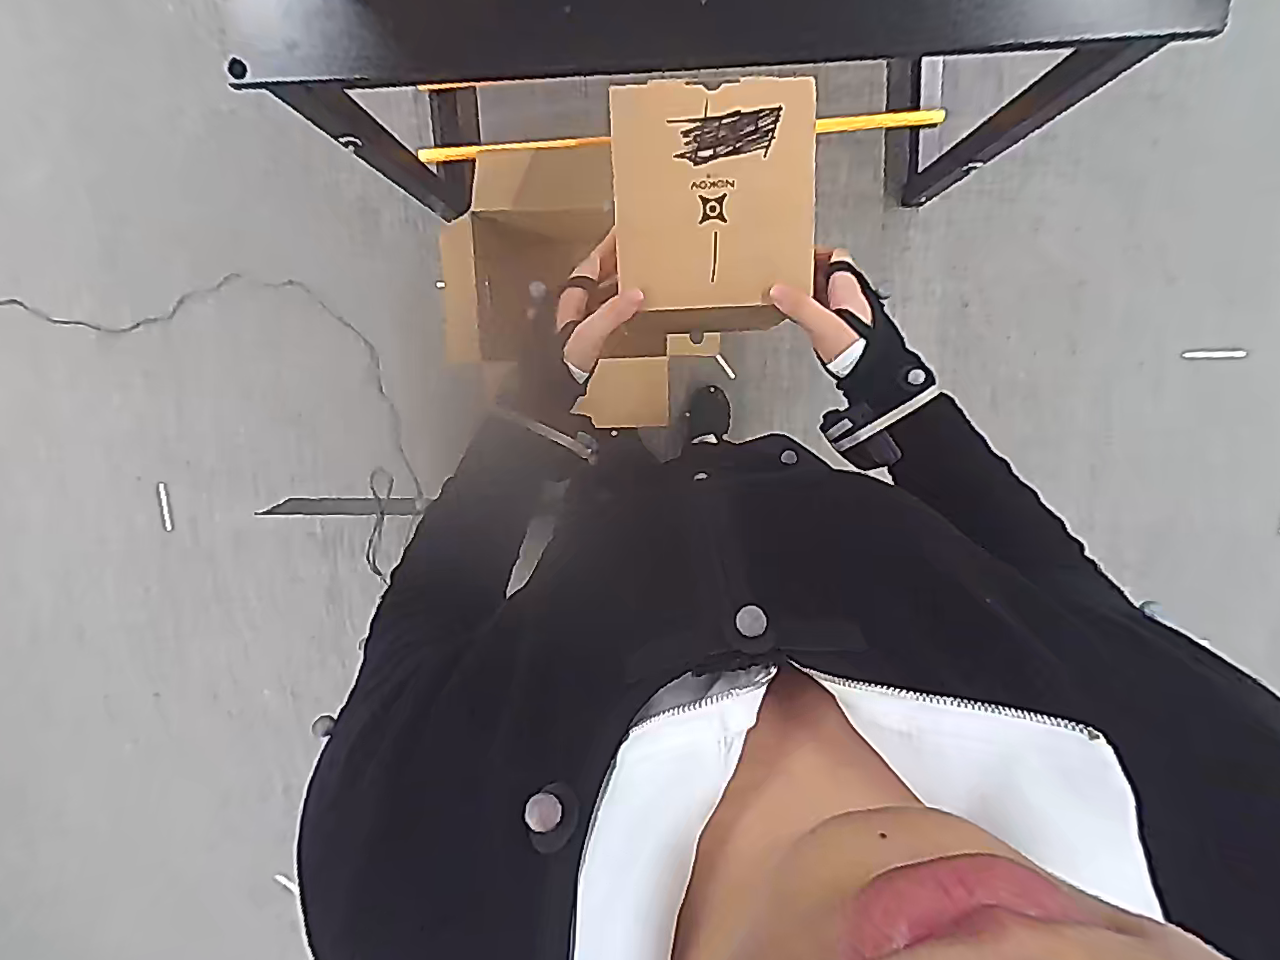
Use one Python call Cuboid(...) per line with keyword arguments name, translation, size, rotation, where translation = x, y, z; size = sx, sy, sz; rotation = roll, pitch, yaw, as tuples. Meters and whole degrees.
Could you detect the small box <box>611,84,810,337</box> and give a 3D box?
Cuboid(name="small box", translation=(0.059, -0.242, 0.527), size=(0.168, 0.176, 0.179), rotation=(-2, 98, 1))
